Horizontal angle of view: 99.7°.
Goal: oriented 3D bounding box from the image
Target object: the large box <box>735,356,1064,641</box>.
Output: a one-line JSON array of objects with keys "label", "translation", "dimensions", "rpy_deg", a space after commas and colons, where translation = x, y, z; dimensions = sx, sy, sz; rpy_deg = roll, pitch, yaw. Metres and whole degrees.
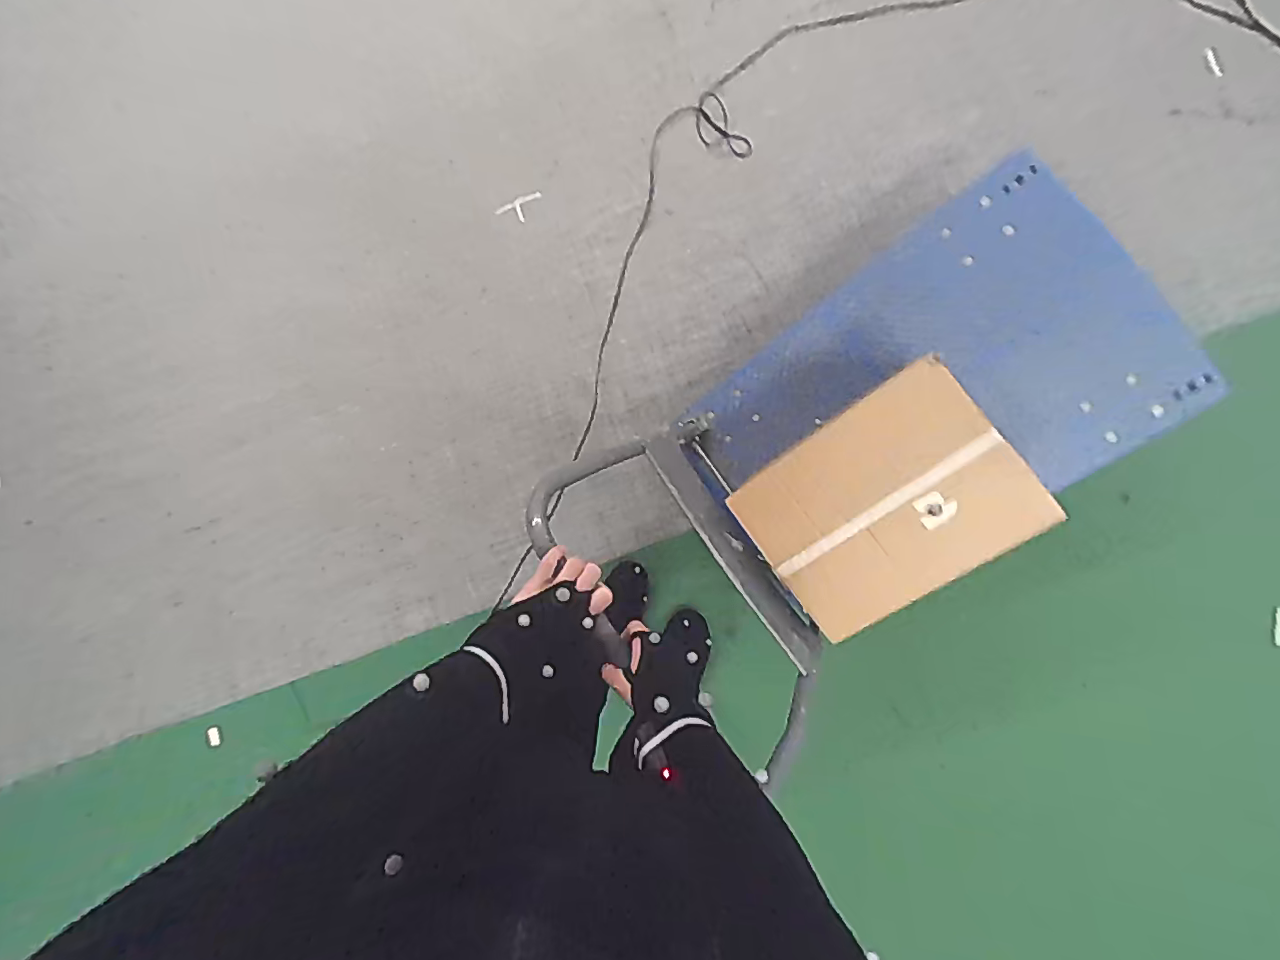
[{"label": "large box", "translation": [0.448, 0.028, 1.020], "dimensions": [0.408, 0.320, 0.320], "rpy_deg": [-38, 85, 20]}]
